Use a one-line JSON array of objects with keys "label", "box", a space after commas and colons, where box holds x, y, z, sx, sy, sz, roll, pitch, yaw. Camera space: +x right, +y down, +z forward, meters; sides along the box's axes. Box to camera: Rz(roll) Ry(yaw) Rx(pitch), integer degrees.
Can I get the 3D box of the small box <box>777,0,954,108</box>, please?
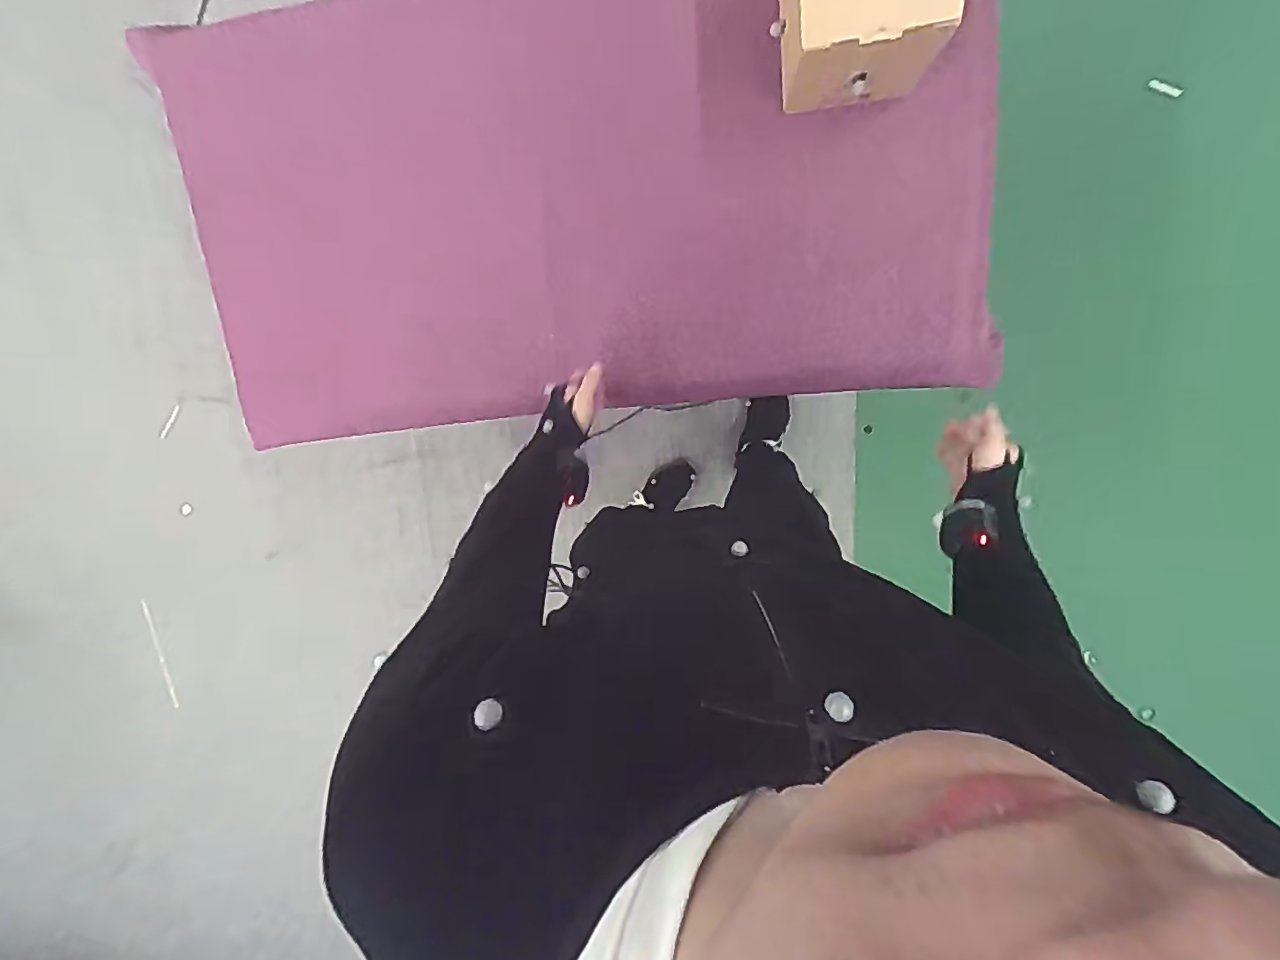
[{"label": "small box", "box": [0.255, -0.573, 0.640, 0.168, 0.176, 0.179, -4, 102, 10]}]
